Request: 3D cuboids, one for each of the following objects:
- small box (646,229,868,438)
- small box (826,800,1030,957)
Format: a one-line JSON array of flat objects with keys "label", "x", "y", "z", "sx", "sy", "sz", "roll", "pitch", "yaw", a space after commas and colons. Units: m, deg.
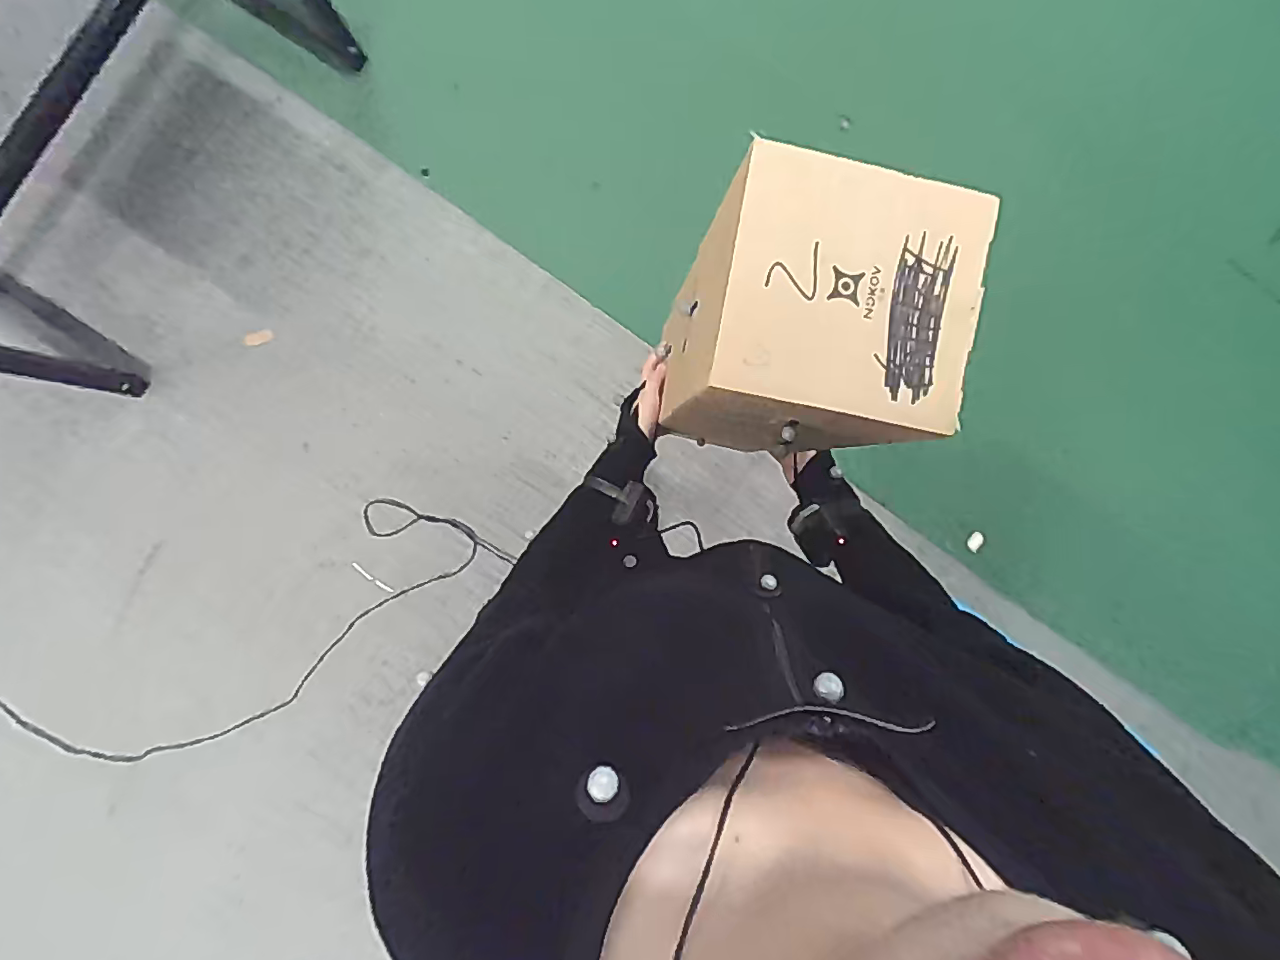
[{"label": "small box", "x": 0.112, "y": -0.140, "z": 0.589, "sx": 0.179, "sy": 0.176, "sz": 0.168, "roll": 9, "pitch": 90, "yaw": -6}, {"label": "small box", "x": 0.414, "y": 0.626, "z": 0.814, "sx": 0.179, "sy": 0.176, "sz": 0.168, "roll": 38, "pitch": 89, "yaw": 0}]
